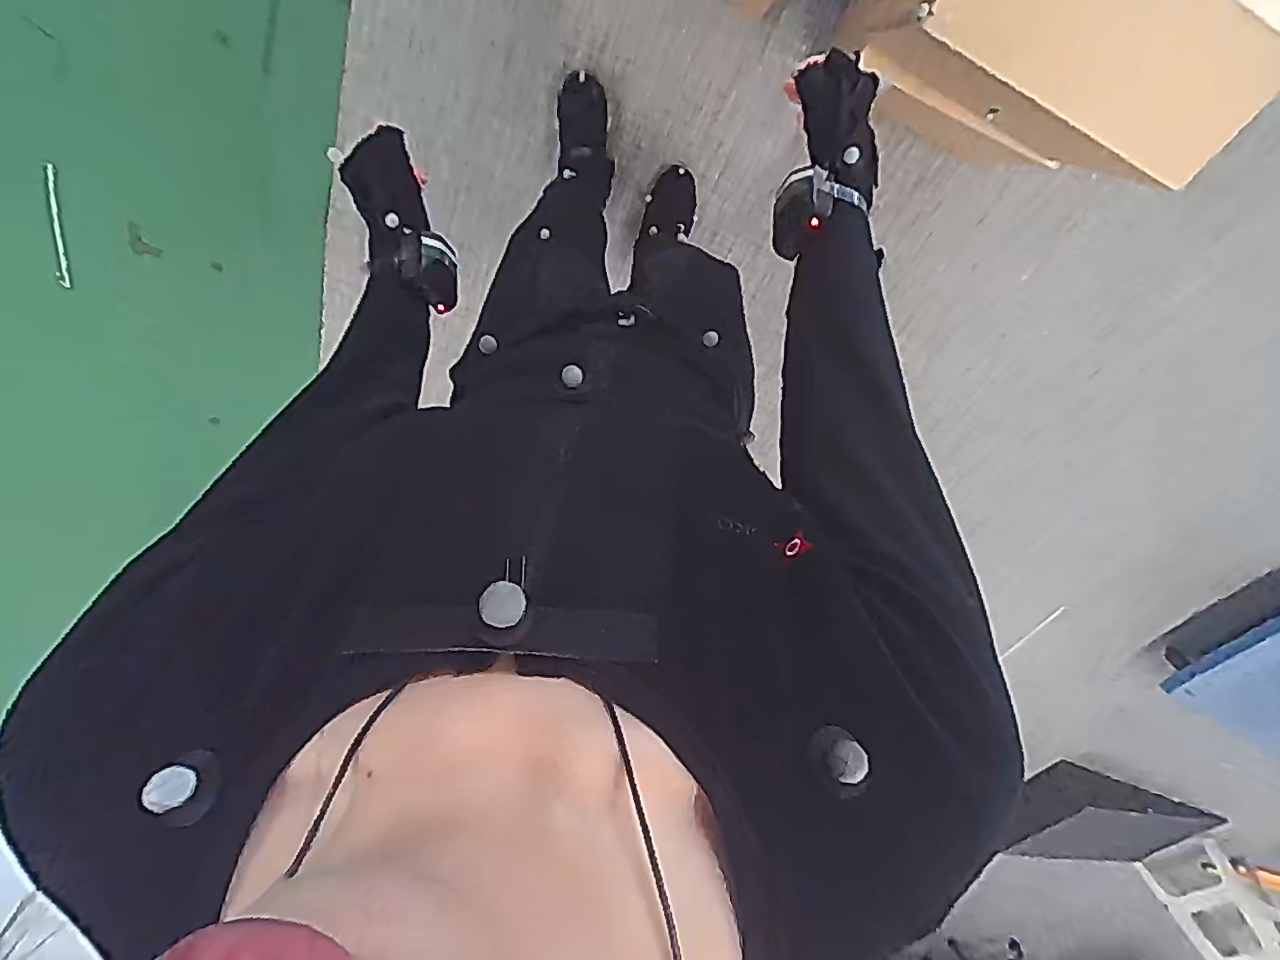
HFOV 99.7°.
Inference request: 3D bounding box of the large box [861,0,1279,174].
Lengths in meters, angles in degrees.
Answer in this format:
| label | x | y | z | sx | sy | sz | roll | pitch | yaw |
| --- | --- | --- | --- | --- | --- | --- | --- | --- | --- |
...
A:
| label | x | y | z | sx | sy | sz | roll | pitch | yaw |
| --- | --- | --- | --- | --- | --- | --- | --- | --- | --- |
| large box | 0.561 | -0.646 | 0.668 | 0.408 | 0.320 | 0.320 | 23 | 126 | -10 |
